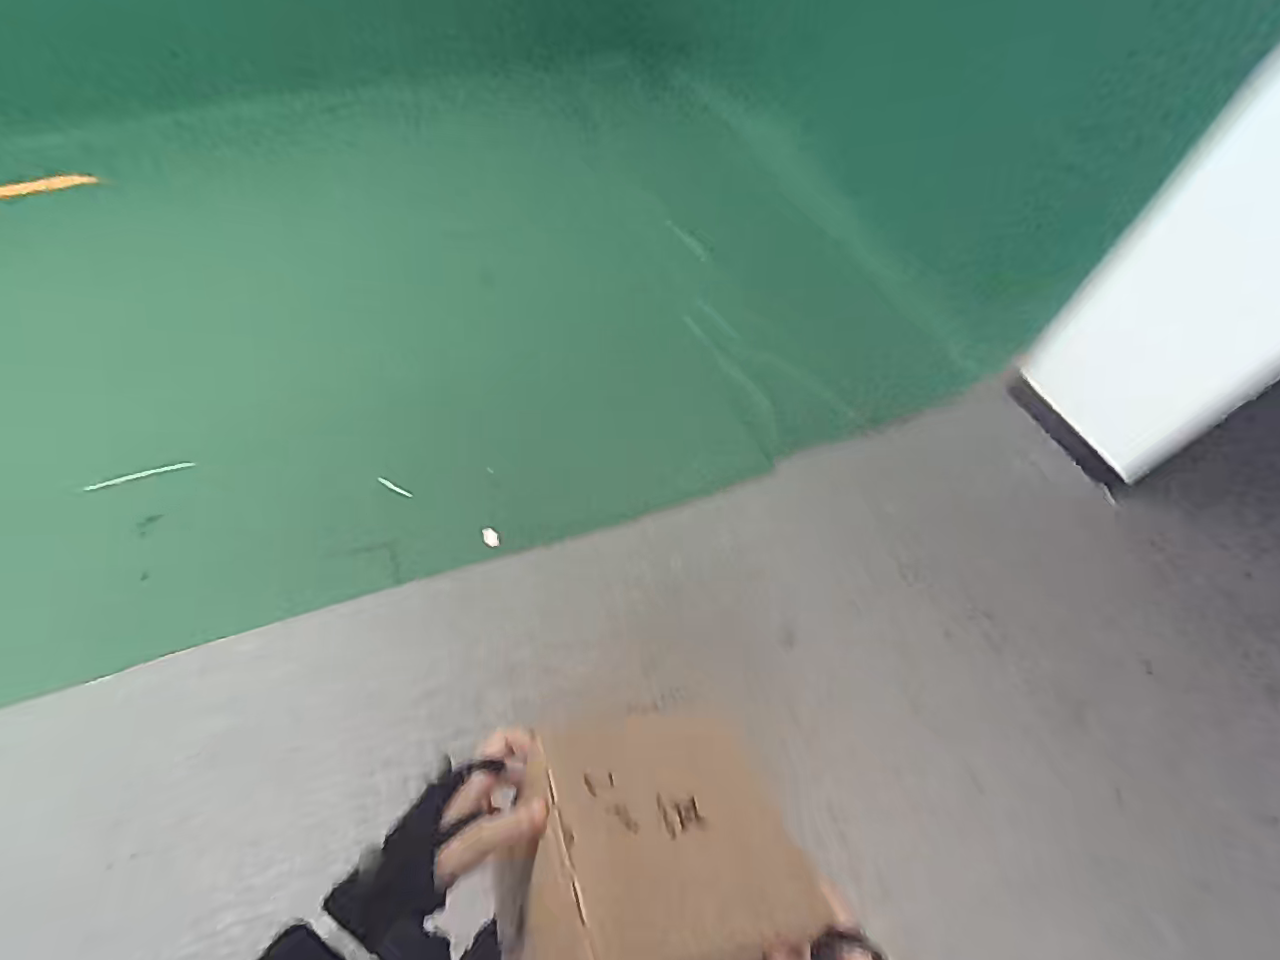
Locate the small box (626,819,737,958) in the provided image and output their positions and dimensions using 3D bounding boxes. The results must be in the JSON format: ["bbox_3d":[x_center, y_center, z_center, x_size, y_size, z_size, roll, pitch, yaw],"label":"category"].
[{"bbox_3d":[0.079,0.816,1.102,0.168,0.176,0.179,-18,59,-11],"label":"small box"}]
